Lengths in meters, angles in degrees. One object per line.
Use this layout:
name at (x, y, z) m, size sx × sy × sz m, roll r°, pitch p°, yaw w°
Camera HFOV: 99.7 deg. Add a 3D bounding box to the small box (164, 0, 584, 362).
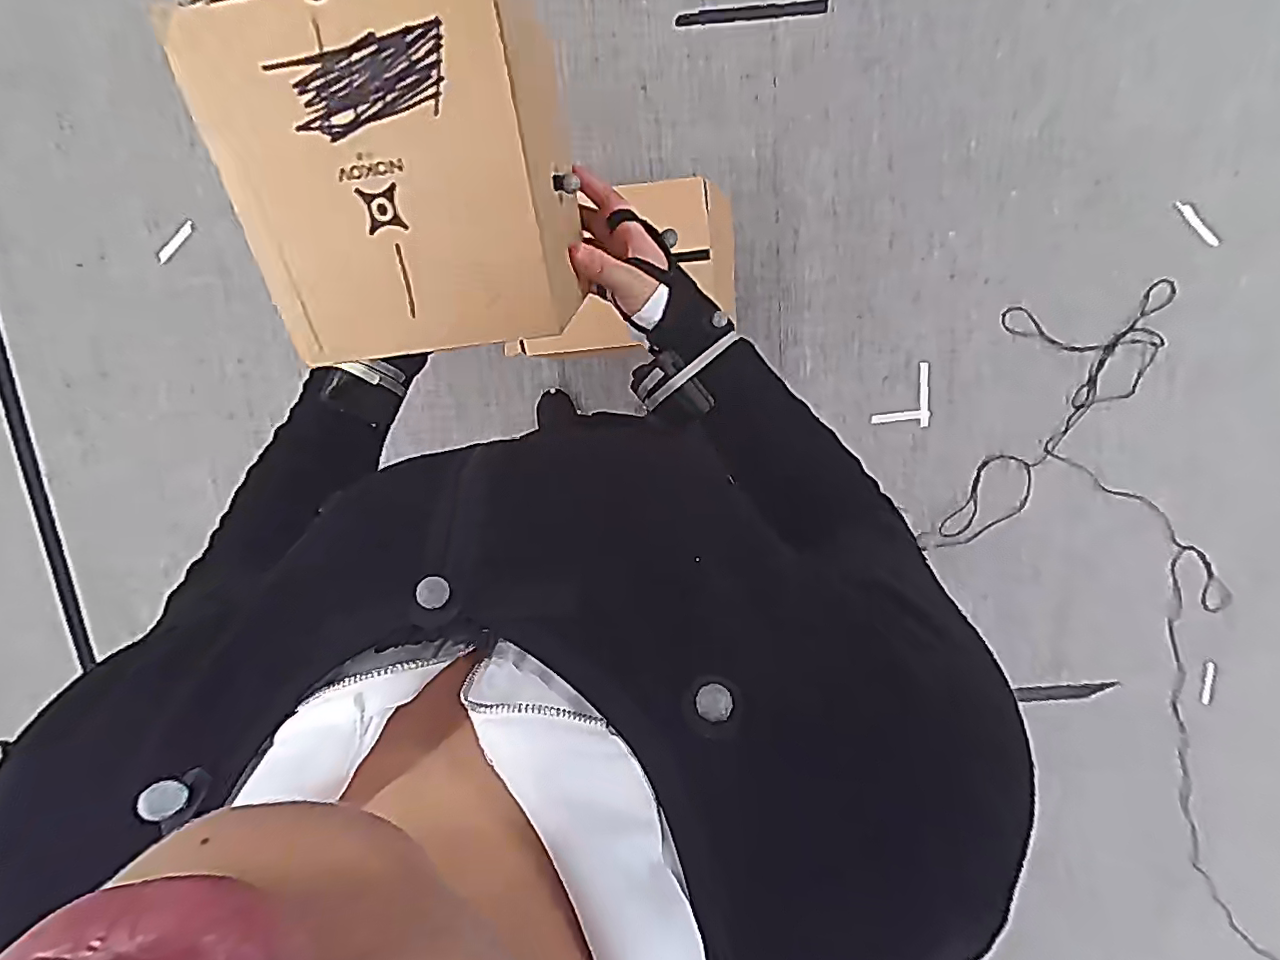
small box at (-0.138, -0.193, 0.363) m, size 0.168 × 0.176 × 0.179 m, roll -5°, pitch 118°, yaw 5°
